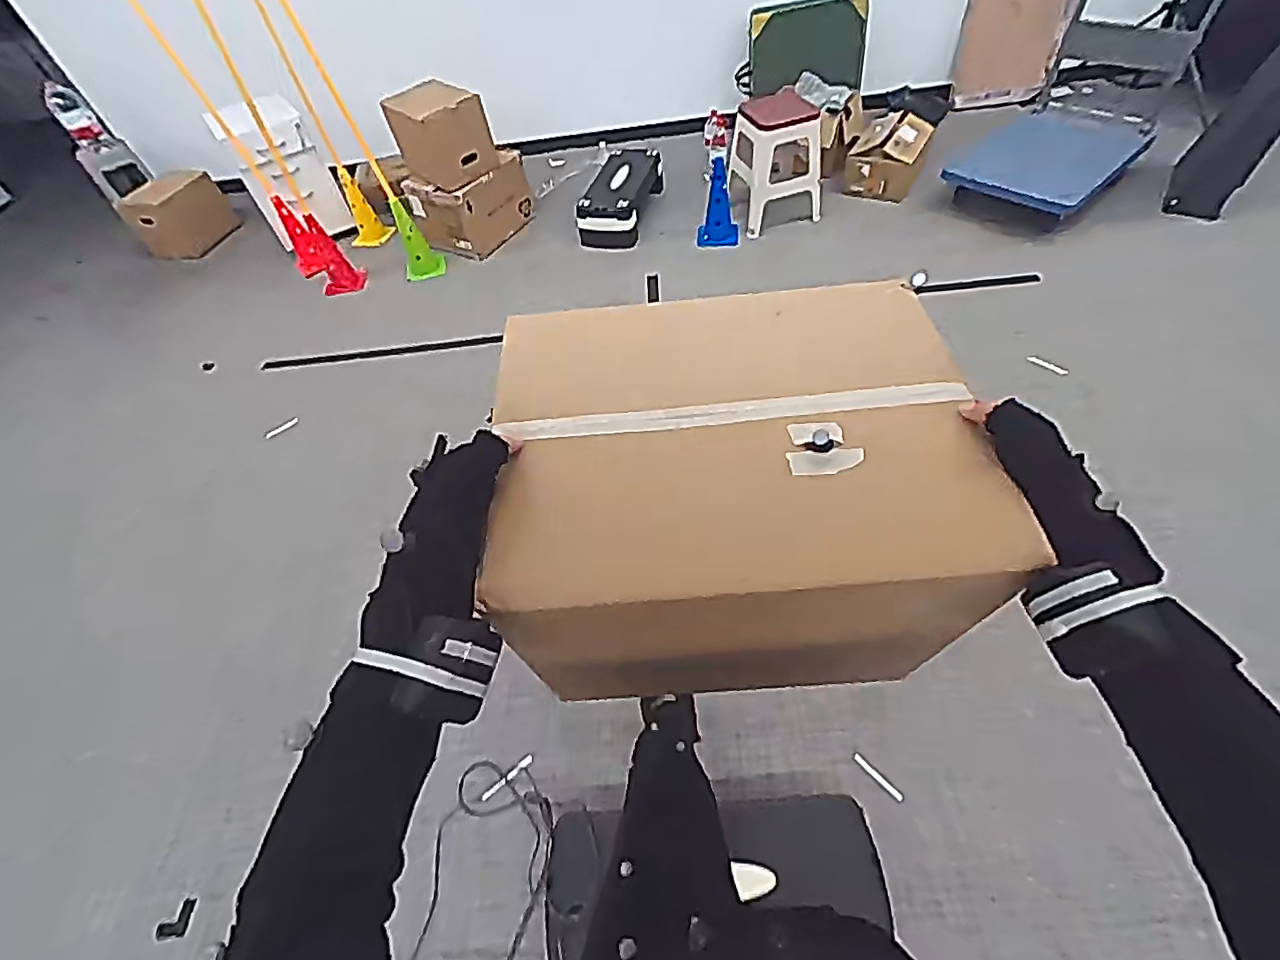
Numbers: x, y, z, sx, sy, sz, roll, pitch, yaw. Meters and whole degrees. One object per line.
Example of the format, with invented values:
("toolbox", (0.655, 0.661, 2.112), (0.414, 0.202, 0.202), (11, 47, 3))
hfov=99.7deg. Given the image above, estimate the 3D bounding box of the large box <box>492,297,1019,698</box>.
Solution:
("large box", (0.083, 0.035, 0.605), (0.408, 0.320, 0.320), (-5, 56, 1))
